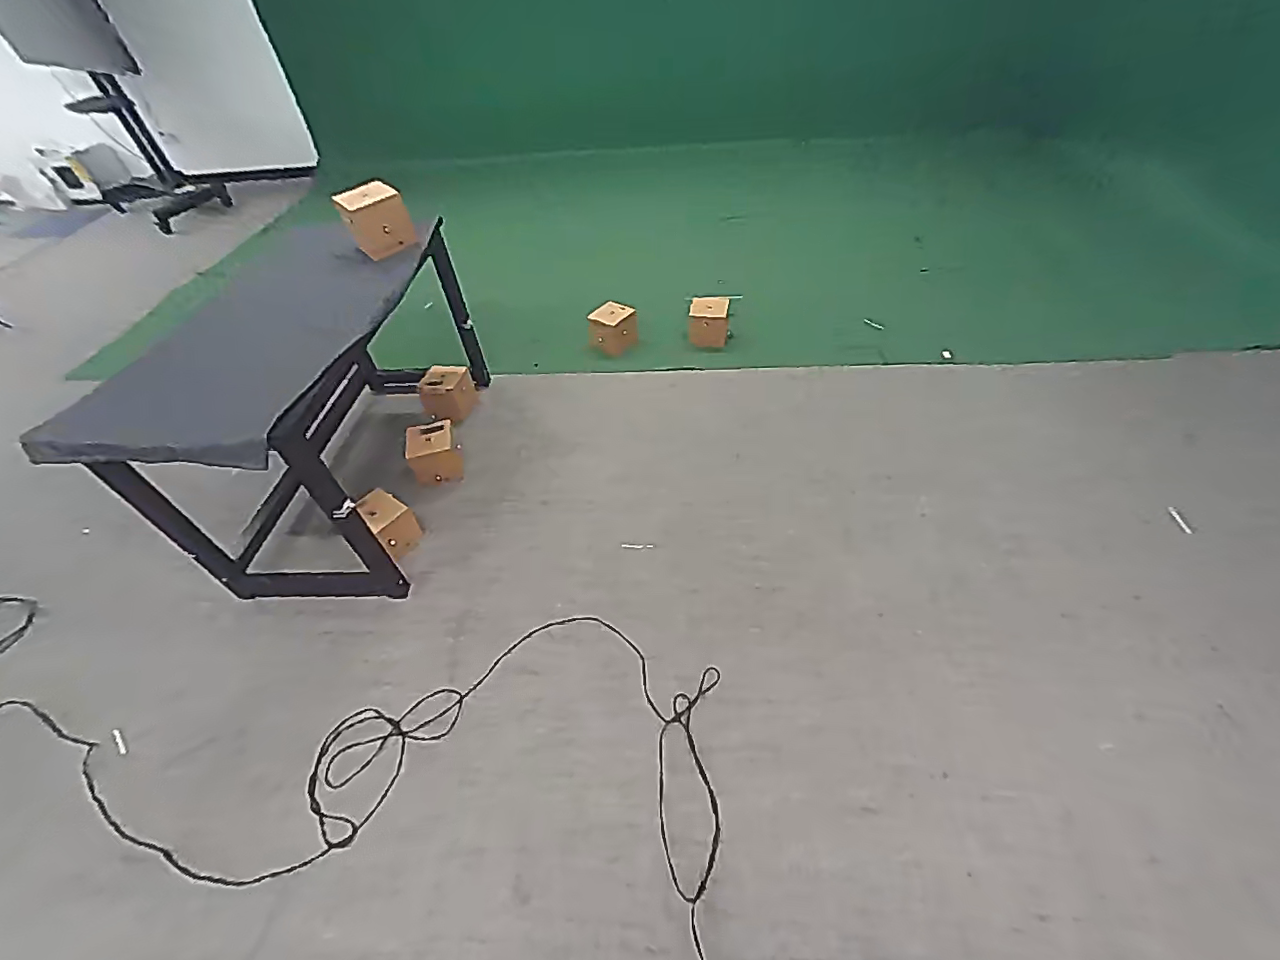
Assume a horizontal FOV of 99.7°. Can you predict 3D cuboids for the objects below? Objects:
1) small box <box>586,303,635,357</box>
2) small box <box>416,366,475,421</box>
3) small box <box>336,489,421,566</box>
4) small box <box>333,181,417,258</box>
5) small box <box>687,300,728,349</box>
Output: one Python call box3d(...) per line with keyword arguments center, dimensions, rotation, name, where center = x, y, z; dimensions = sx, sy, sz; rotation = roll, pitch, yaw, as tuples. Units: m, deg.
box3d(center=(-0.137, -0.724, 2.619), dimensions=(0.168, 0.176, 0.179), rotation=(27, 55, 27), name="small box")
box3d(center=(-0.837, -0.373, 2.346), dimensions=(0.168, 0.176, 0.179), rotation=(4, 46, 8), name="small box")
box3d(center=(-0.884, 0.166, 1.847), dimensions=(0.179, 0.176, 0.168), rotation=(26, 54, 26), name="small box")
box3d(center=(-0.880, -0.865, 1.806), dimensions=(0.168, 0.176, 0.179), rotation=(-36, 54, -22), name="small box")
box3d(center=(0.322, -0.746, 2.600), dimensions=(0.179, 0.176, 0.168), rotation=(7, 49, 10), name="small box")
